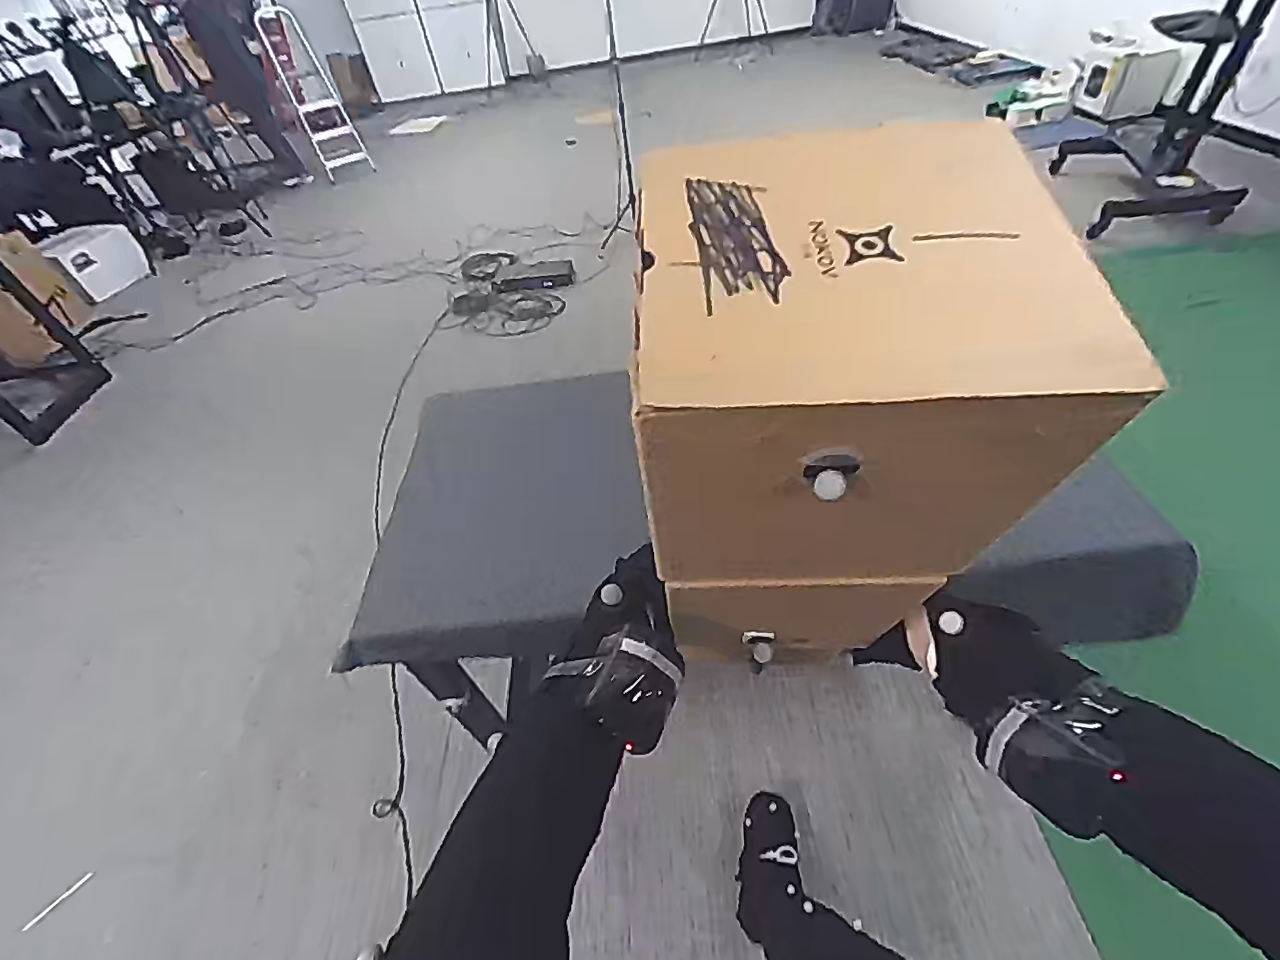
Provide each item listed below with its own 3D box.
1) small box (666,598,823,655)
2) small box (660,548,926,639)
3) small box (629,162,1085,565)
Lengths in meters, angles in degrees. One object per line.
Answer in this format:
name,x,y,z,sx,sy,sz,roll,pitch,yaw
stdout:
small box,0.116,0.089,0.594,0.179,0.176,0.168,-2,59,3
small box,0.101,0.021,0.445,0.168,0.176,0.179,-1,60,5
small box,0.091,-0.052,0.318,0.179,0.176,0.168,-2,60,4
